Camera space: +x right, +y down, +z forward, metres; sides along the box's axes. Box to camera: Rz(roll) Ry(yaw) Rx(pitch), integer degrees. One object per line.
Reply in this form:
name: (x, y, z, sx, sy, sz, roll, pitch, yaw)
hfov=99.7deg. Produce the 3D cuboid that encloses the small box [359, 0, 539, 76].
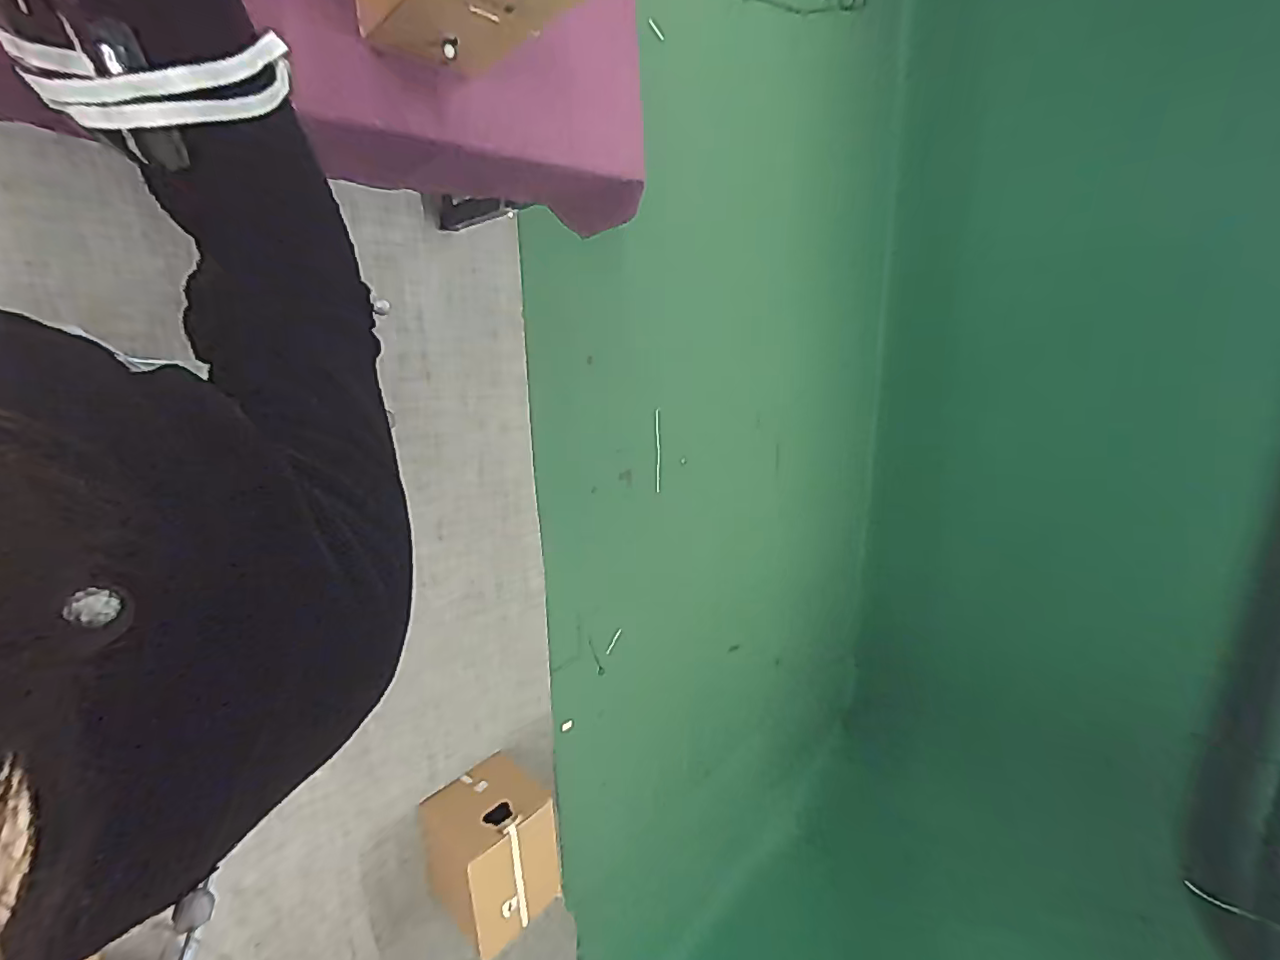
small box: (-0.249, -0.652, 0.683, 0.168, 0.176, 0.179, -19, 112, -44)

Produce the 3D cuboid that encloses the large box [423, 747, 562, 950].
large box: (-0.491, 1.214, 1.823, 0.320, 0.320, 0.408, -18, 113, -45)

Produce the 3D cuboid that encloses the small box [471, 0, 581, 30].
small box: (-0.131, -0.628, 0.570, 0.168, 0.176, 0.179, -19, 111, -44)
